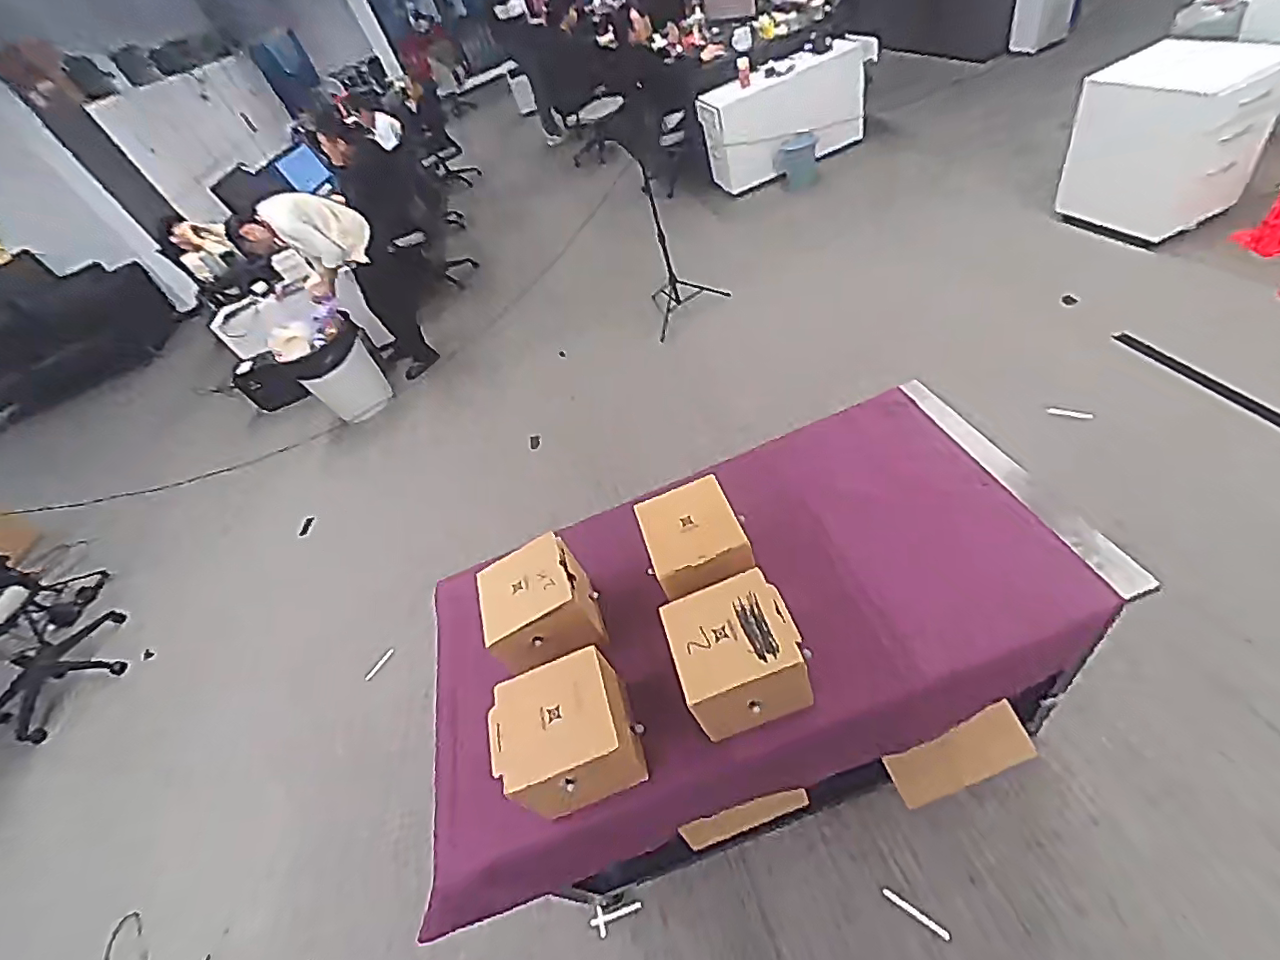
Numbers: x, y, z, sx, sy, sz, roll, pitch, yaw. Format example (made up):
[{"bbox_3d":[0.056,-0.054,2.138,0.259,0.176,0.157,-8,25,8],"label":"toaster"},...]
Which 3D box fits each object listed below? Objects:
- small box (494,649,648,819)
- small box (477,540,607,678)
[{"bbox_3d":[-0.107,0.404,0.850,0.179,0.176,0.168,-23,45,0],"label":"small box"},{"bbox_3d":[-0.184,0.252,1.021,0.179,0.176,0.168,-24,45,-1],"label":"small box"}]
